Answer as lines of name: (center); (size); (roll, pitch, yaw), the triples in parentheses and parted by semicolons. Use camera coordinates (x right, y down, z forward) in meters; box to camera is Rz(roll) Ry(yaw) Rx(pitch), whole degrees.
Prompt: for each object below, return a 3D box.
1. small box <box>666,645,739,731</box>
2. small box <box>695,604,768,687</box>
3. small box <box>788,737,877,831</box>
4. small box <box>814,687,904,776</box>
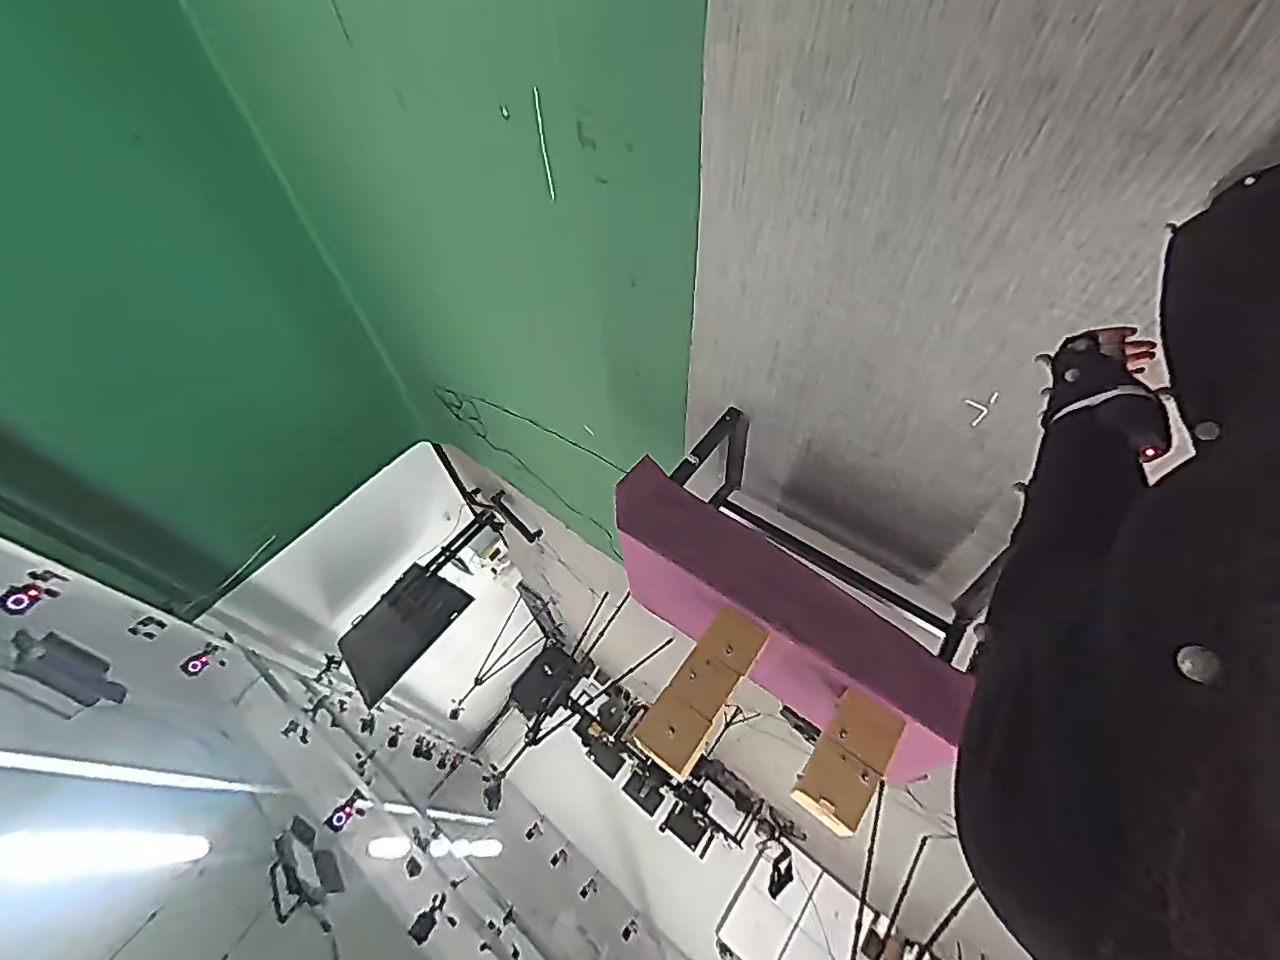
small box: (0.197, 0.651, 1.701); (0.168, 0.176, 0.179); (31, 154, 24)
small box: (0.296, 0.538, 1.765); (0.179, 0.176, 0.168); (31, 152, 22)
small box: (0.545, 0.856, 1.530); (0.168, 0.176, 0.179); (31, 155, 24)
small box: (0.646, 0.746, 1.596); (0.179, 0.176, 0.168); (31, 153, 24)
